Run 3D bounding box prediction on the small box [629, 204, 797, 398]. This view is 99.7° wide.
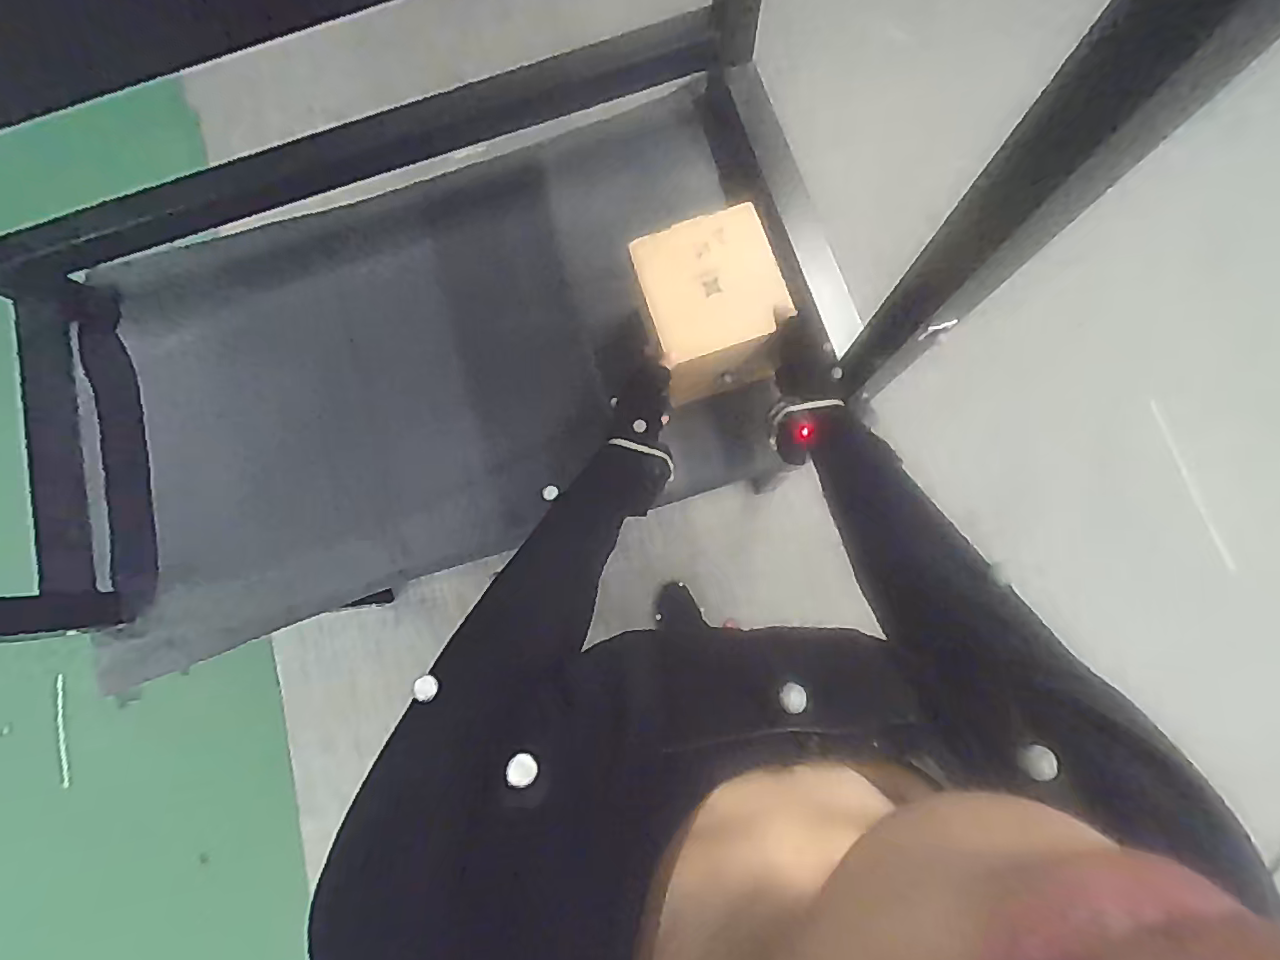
[{"bbox_3d":[0.095,-0.226,0.737,0.168,0.176,0.179,-18,79,1],"label":"small box"}]
